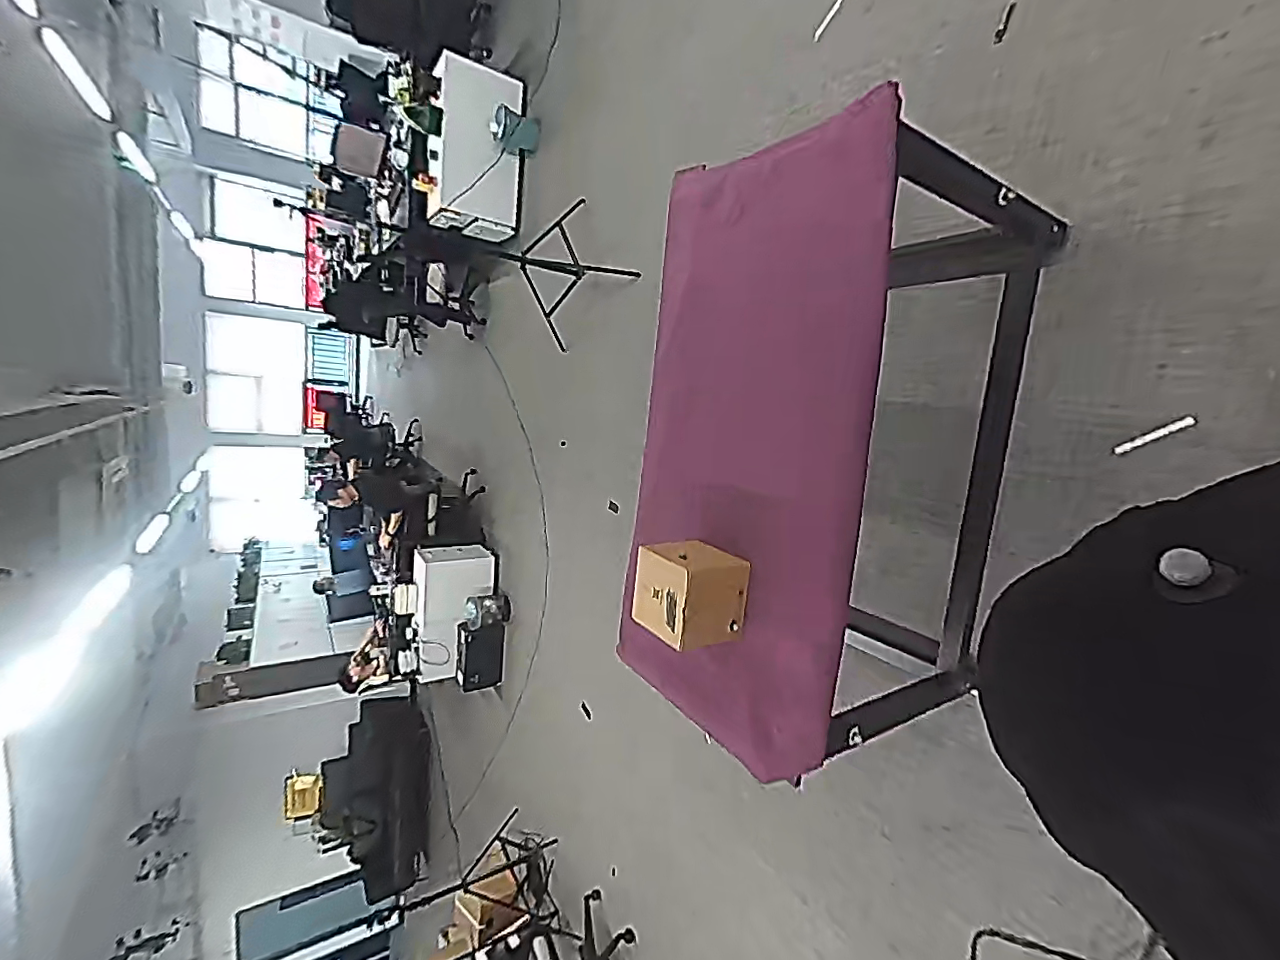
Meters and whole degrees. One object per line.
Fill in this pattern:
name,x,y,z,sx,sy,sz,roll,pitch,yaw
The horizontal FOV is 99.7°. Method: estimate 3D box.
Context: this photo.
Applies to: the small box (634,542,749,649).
small box,0.108,0.233,1.147,0.179,0.176,0.168,19,105,55
